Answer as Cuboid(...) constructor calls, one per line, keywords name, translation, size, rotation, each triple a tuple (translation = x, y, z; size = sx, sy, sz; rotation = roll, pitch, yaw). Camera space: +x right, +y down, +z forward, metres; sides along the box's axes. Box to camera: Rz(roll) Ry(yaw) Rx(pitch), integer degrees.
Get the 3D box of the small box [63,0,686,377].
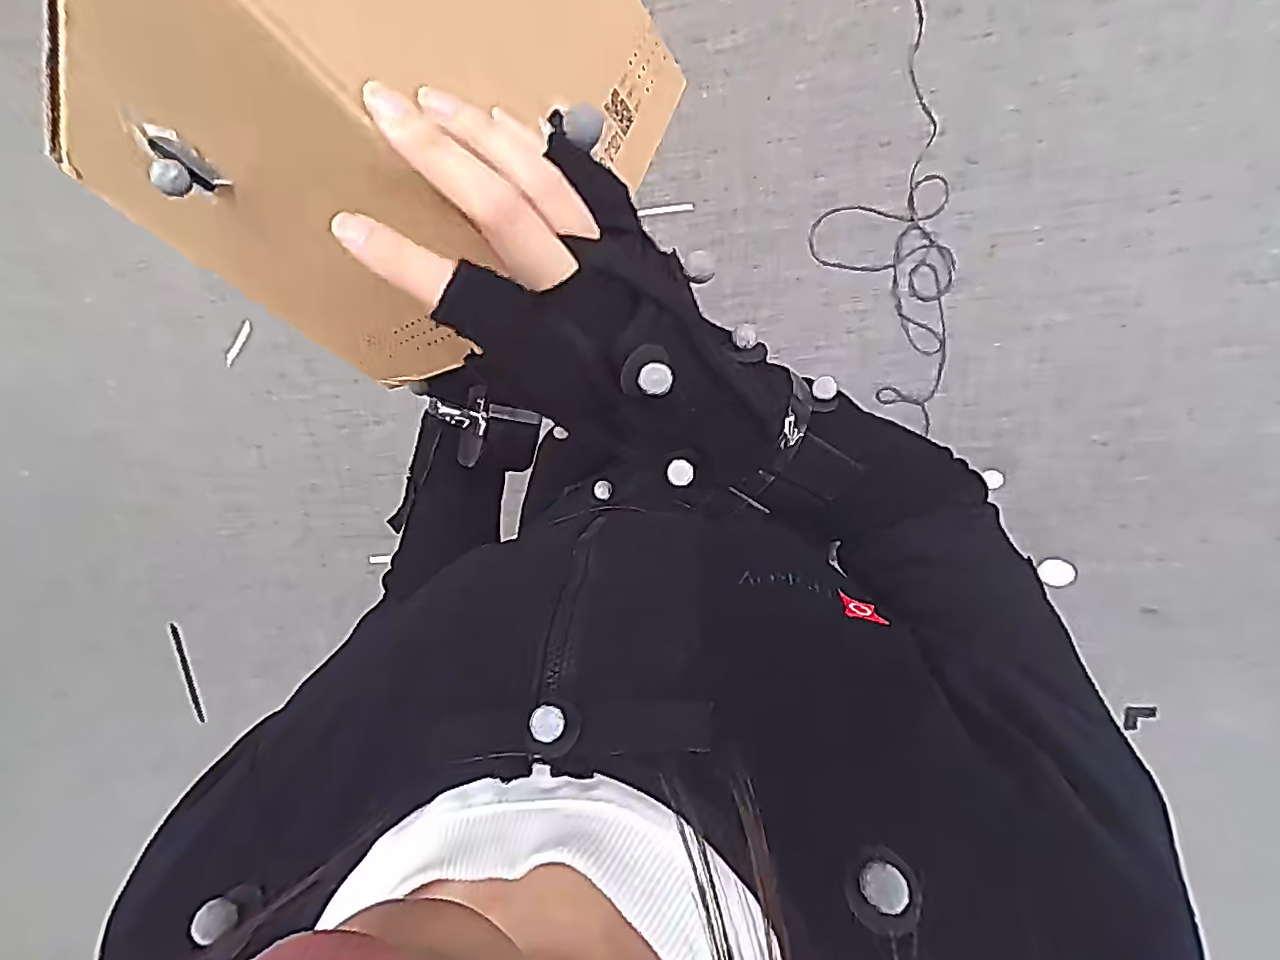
Cuboid(name="small box", translation=(-0.110, -0.167, 0.258), size=(0.179, 0.176, 0.168), rotation=(-1, 61, 43))
